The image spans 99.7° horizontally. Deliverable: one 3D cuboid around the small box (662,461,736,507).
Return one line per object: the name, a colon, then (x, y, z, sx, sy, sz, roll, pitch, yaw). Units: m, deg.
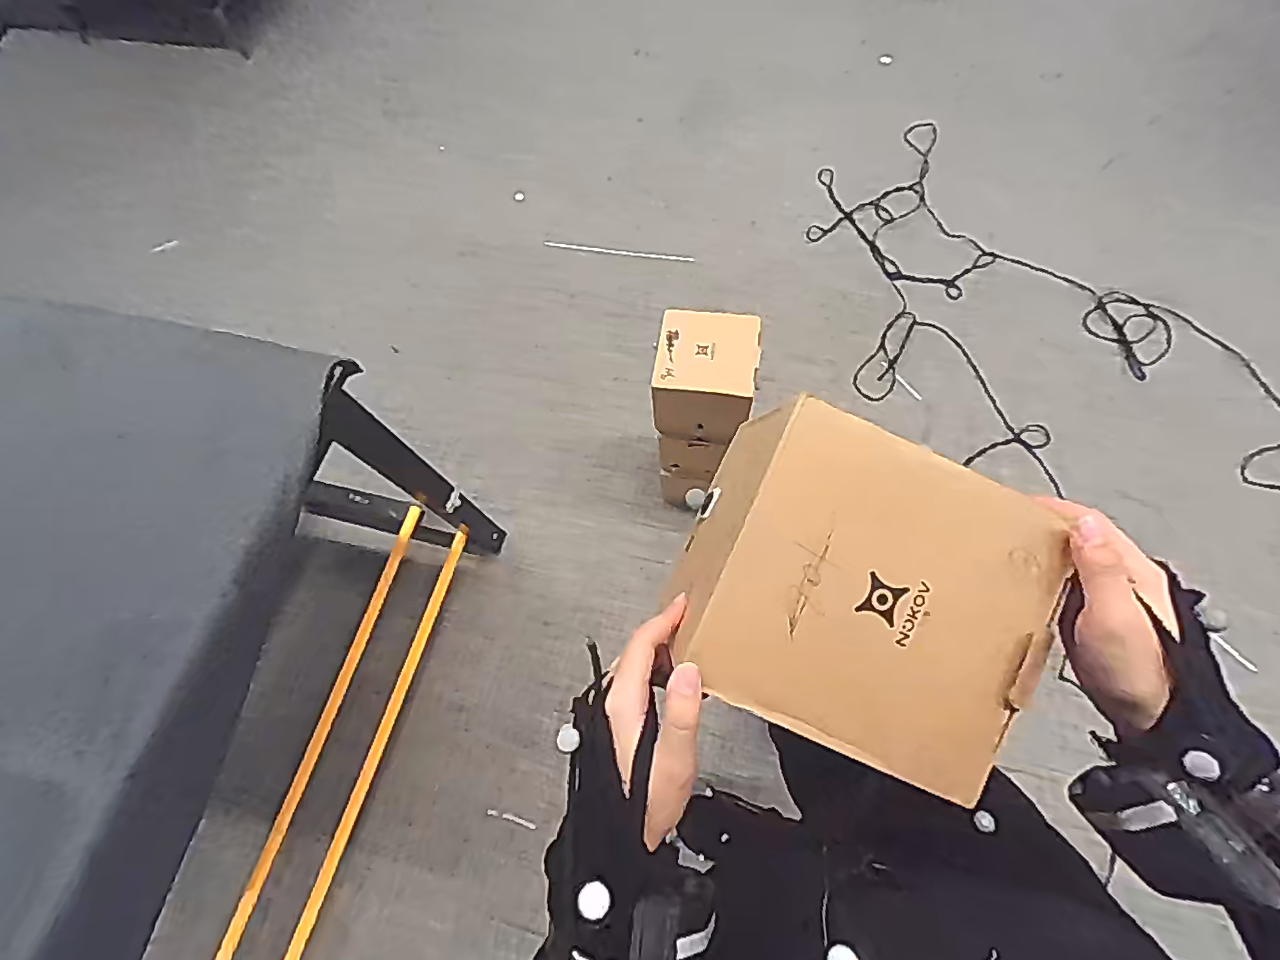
small box: (0.148, -0.050, 1.303, 0.168, 0.176, 0.179, 6, 69, 8)

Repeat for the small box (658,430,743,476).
small box: (0.137, -0.122, 1.155, 0.168, 0.176, 0.179, 7, 68, 8)

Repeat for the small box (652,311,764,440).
small box: (0.124, -0.187, 1.006, 0.179, 0.176, 0.168, 8, 69, 7)
